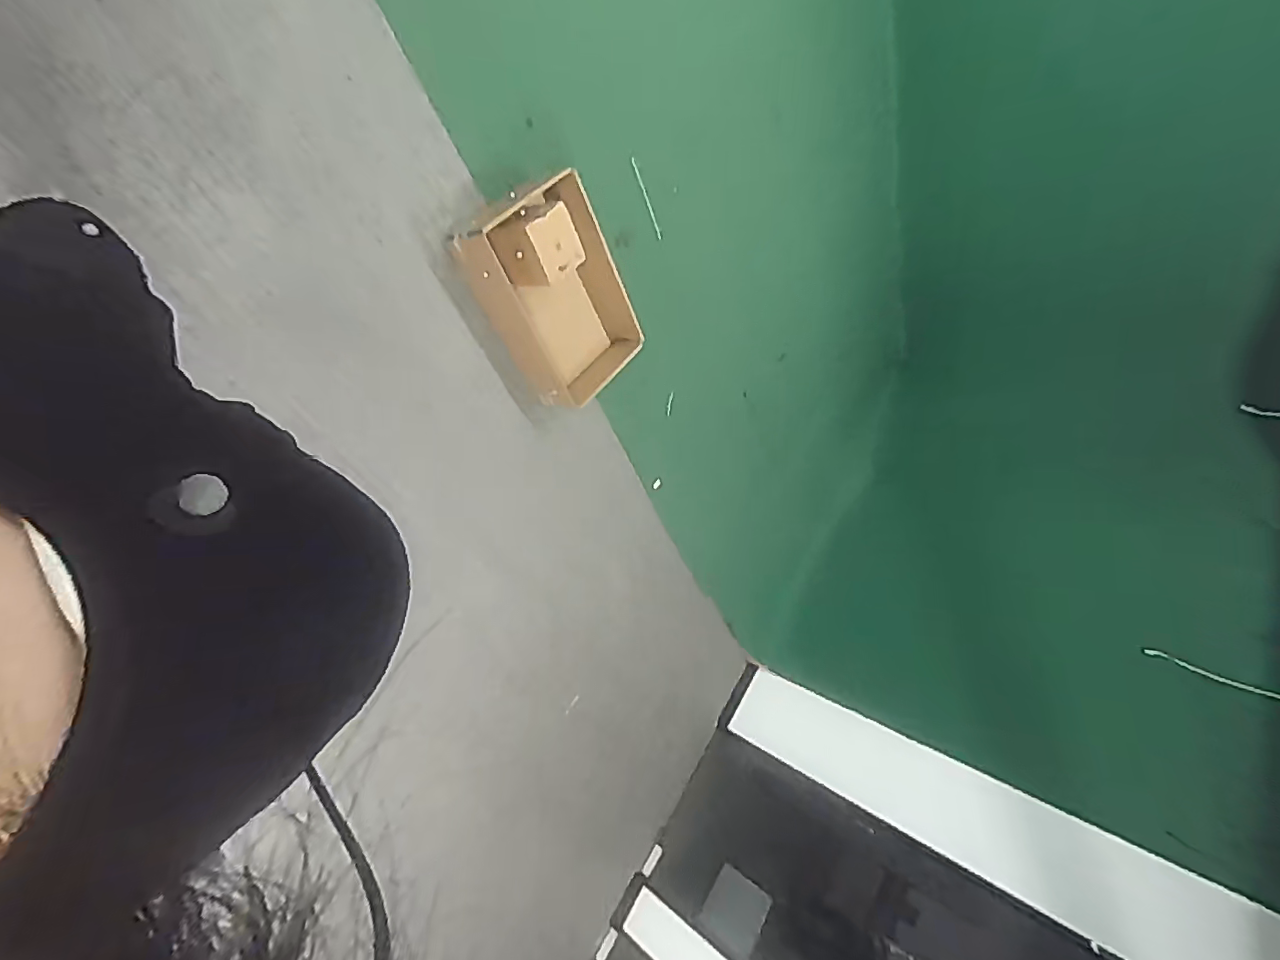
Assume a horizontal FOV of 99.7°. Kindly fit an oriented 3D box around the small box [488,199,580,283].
[{"bbox_3d":[-0.315,-0.699,1.596,0.168,0.176,0.179,-49,135,-27],"label":"small box"}]
